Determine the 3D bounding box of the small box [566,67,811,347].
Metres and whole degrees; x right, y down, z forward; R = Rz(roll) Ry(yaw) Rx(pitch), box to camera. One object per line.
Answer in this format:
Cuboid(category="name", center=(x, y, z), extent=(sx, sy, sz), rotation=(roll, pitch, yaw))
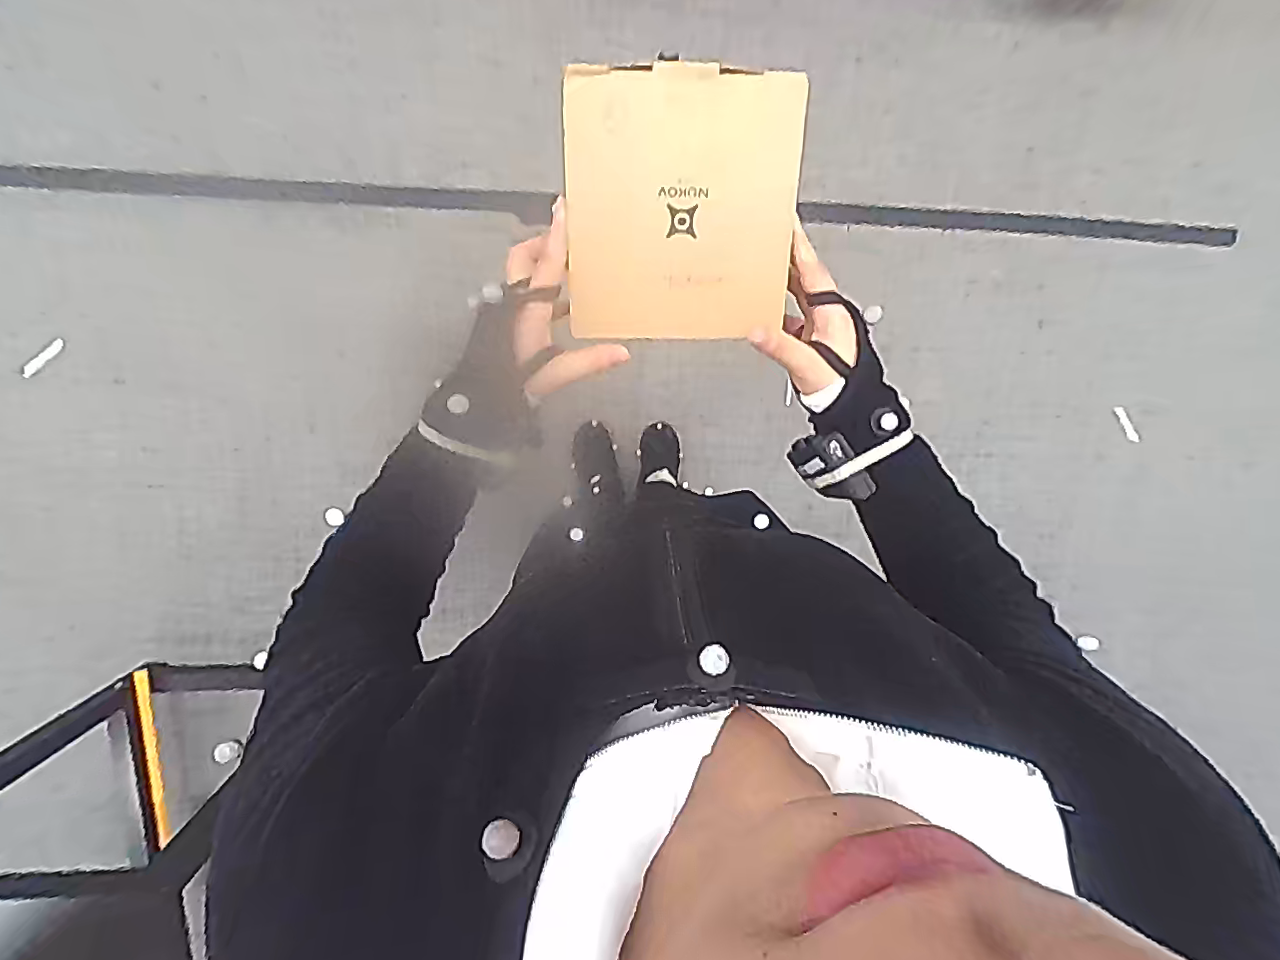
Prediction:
Cuboid(category="small box", center=(0.026, -0.213, 0.454), extent=(0.168, 0.176, 0.179), rotation=(0, 113, -3))
